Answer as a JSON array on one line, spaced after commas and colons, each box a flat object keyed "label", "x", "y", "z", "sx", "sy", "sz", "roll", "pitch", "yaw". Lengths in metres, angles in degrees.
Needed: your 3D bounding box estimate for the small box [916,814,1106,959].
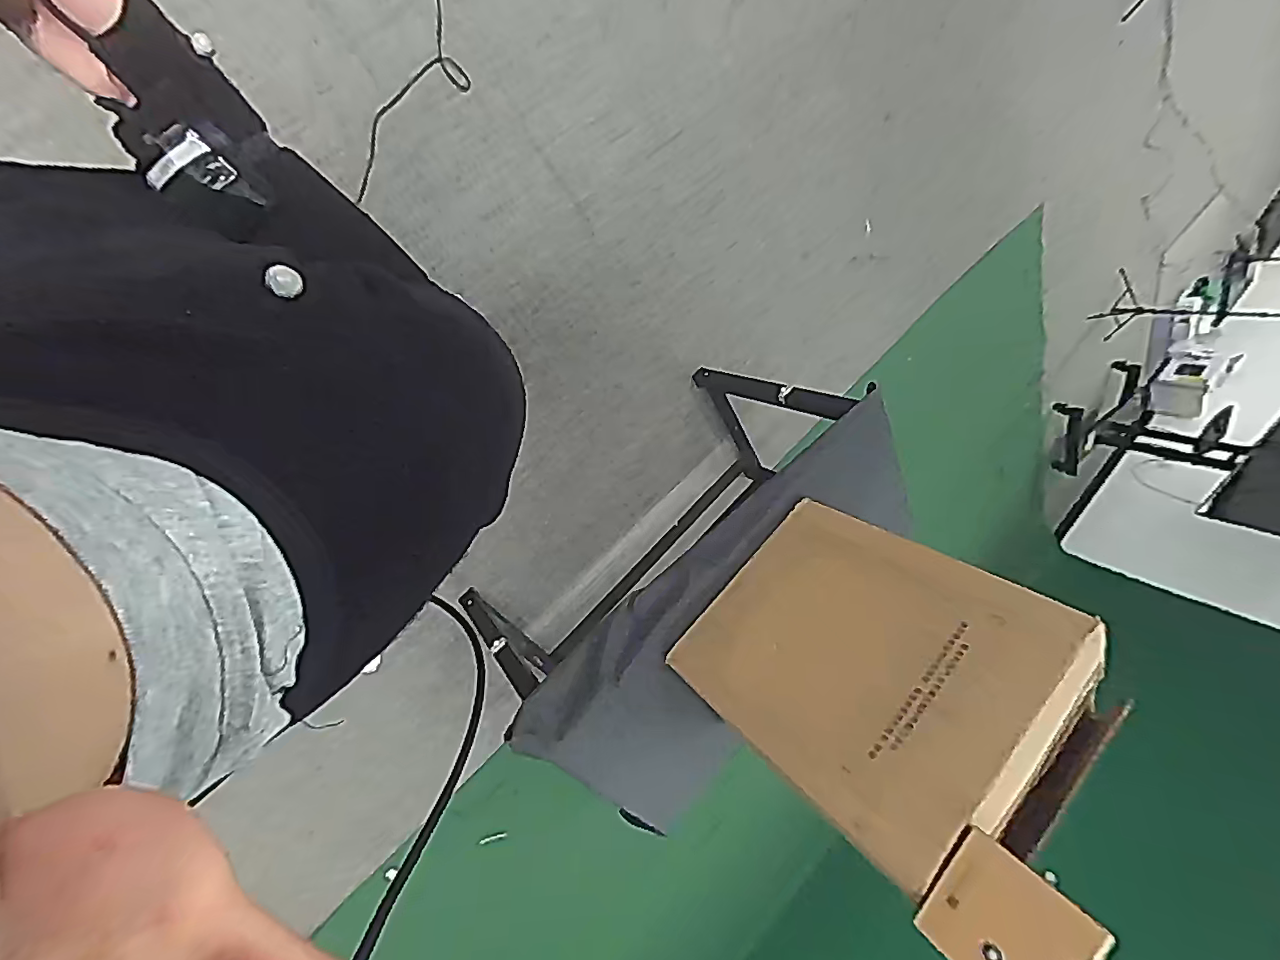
[{"label": "small box", "x": 0.532, "y": 0.625, "z": 0.785, "sx": 0.168, "sy": 0.176, "sz": 0.179, "roll": -51, "pitch": 129, "yaw": -6}]
